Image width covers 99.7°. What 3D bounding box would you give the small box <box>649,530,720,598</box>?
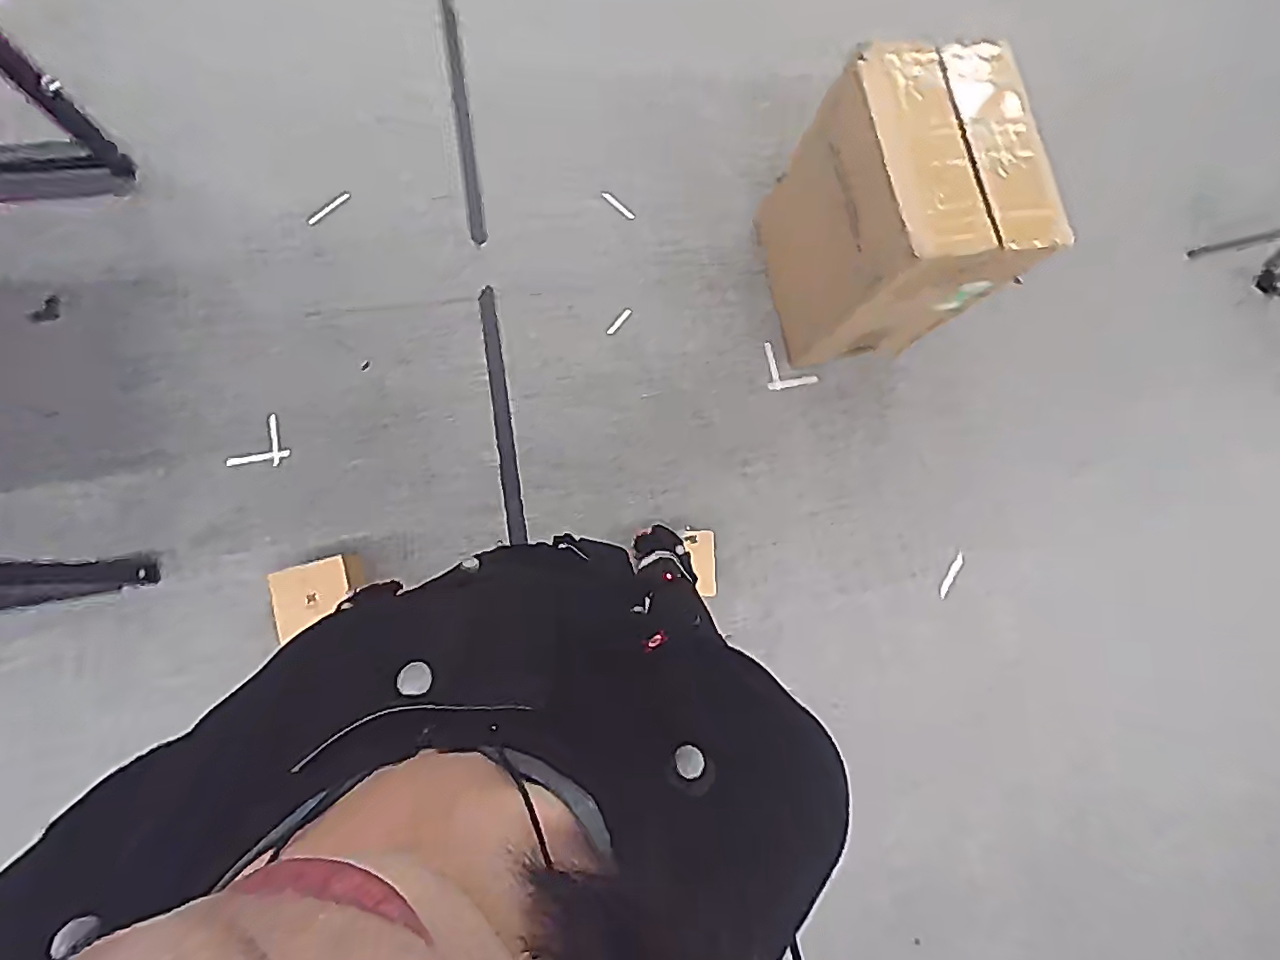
[{"bbox_3d":[0.119,0.229,1.491,0.168,0.176,0.179,1,81,-9],"label":"small box"}]

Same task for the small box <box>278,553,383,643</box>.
[{"bbox_3d":[-0.763,0.288,1.351,0.168,0.176,0.179,-15,82,-12],"label":"small box"}]
